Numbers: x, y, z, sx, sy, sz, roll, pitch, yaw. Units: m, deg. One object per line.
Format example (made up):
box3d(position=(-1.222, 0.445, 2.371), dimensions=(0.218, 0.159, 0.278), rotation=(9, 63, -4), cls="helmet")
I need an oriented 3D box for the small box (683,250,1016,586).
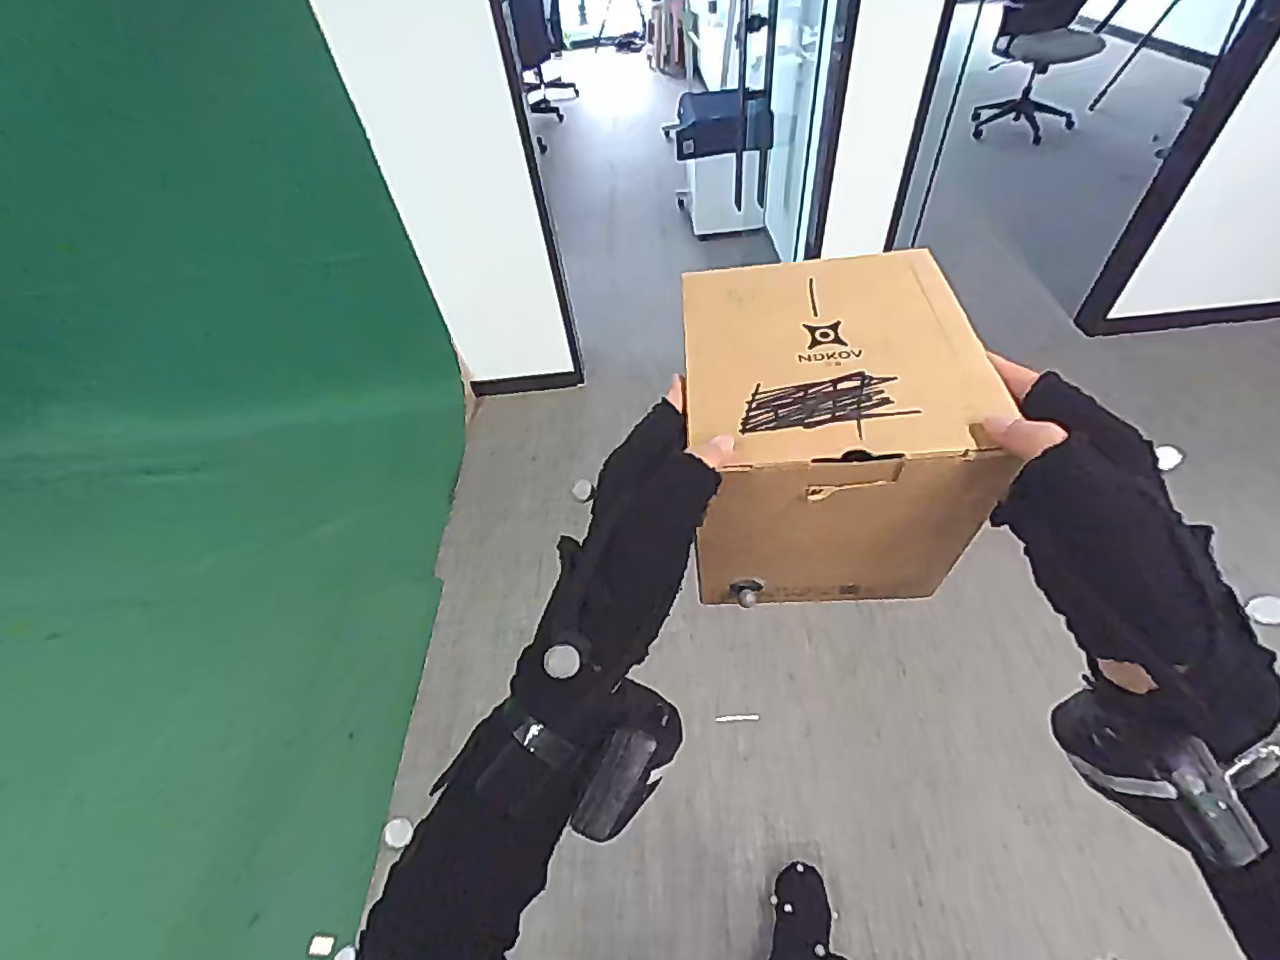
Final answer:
box3d(position=(0.119, -0.033, 0.387), dimensions=(0.168, 0.176, 0.179), rotation=(-3, 52, 7), cls="small box")
